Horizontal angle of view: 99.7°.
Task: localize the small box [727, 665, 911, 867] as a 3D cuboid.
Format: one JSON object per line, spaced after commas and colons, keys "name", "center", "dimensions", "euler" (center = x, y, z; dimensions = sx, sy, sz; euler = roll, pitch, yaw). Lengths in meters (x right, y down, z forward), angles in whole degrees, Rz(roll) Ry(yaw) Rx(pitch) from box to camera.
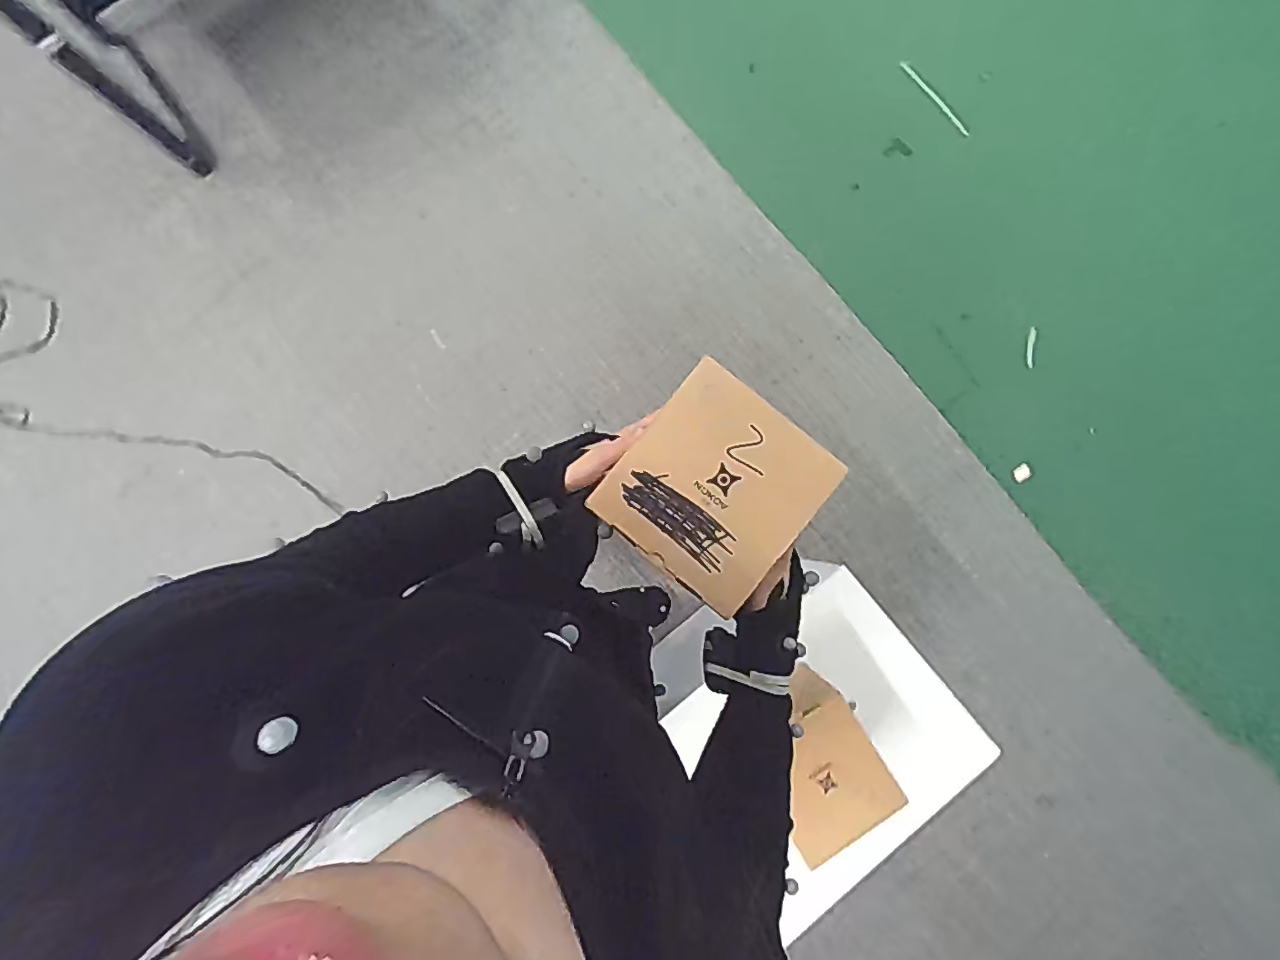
{"name": "small box", "center": [0.252, 0.407, 0.804], "dimensions": [0.168, 0.176, 0.179], "euler": [-32, 86, -4]}
